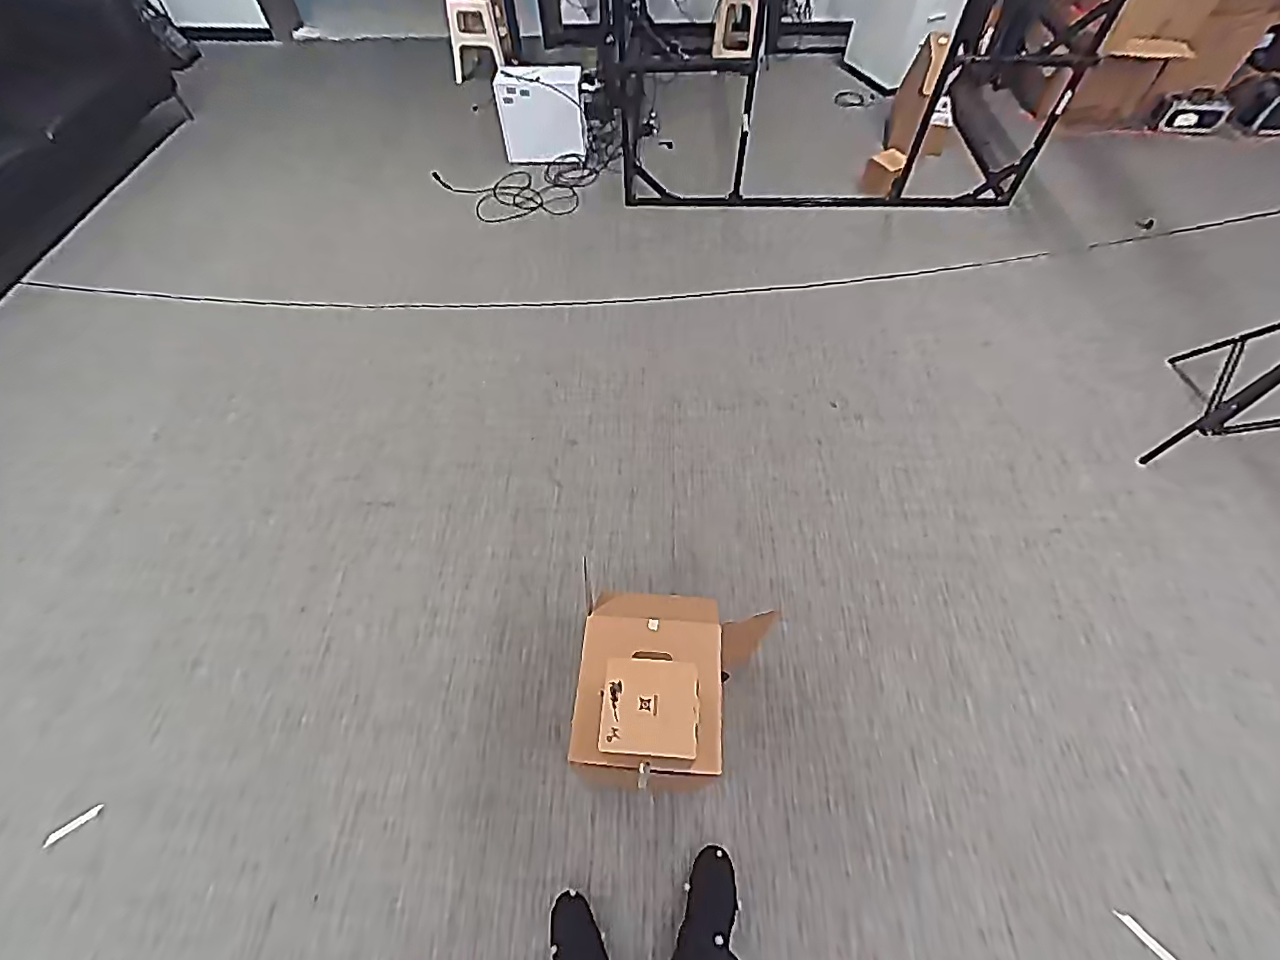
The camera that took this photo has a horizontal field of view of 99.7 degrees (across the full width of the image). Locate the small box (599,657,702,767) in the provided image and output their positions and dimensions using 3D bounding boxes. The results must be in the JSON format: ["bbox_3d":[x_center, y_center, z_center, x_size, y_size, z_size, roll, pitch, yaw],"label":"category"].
[{"bbox_3d":[0.022,0.452,1.044,0.179,0.176,0.168,4,58,3],"label":"small box"}]
